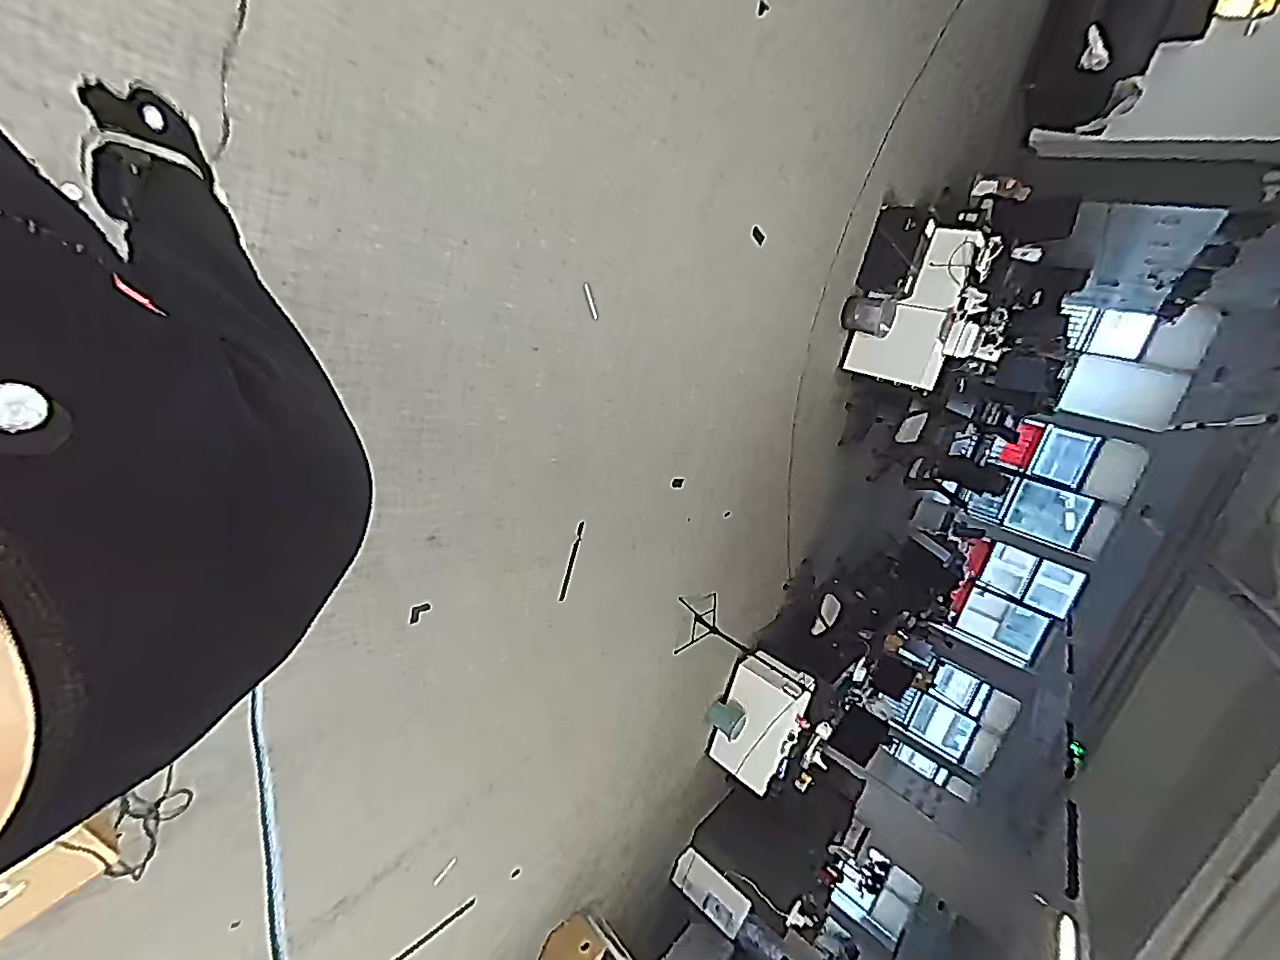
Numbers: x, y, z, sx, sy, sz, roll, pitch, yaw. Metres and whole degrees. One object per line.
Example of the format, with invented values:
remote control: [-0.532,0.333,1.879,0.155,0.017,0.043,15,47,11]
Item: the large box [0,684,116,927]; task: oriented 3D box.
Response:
large box: [-1.353,0.687,1.022,0.408,0.320,0.320,-33,134,-39]
